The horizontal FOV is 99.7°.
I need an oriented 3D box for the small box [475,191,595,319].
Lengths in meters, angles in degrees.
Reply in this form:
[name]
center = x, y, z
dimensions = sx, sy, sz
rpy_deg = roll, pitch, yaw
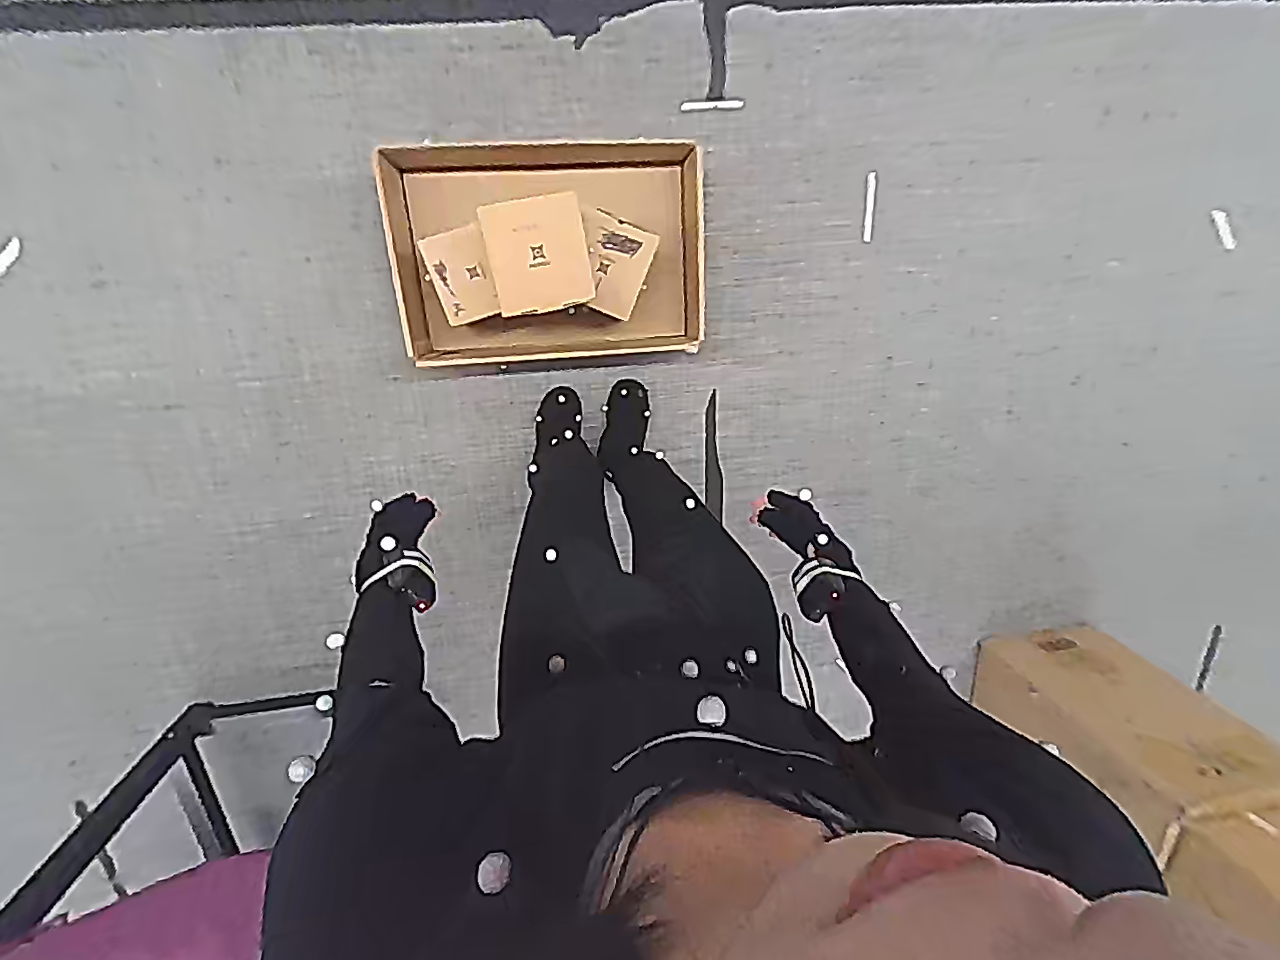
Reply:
[small box]
center = -0.180, -0.394, 0.967
dimensions = 0.168, 0.176, 0.179
rpy_deg = -13, 108, -5

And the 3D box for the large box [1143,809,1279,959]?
[large box]
center = 1.399, 0.993, 1.151
dimensions = 0.320, 0.320, 0.408
rpy_deg = -4, 110, -5
